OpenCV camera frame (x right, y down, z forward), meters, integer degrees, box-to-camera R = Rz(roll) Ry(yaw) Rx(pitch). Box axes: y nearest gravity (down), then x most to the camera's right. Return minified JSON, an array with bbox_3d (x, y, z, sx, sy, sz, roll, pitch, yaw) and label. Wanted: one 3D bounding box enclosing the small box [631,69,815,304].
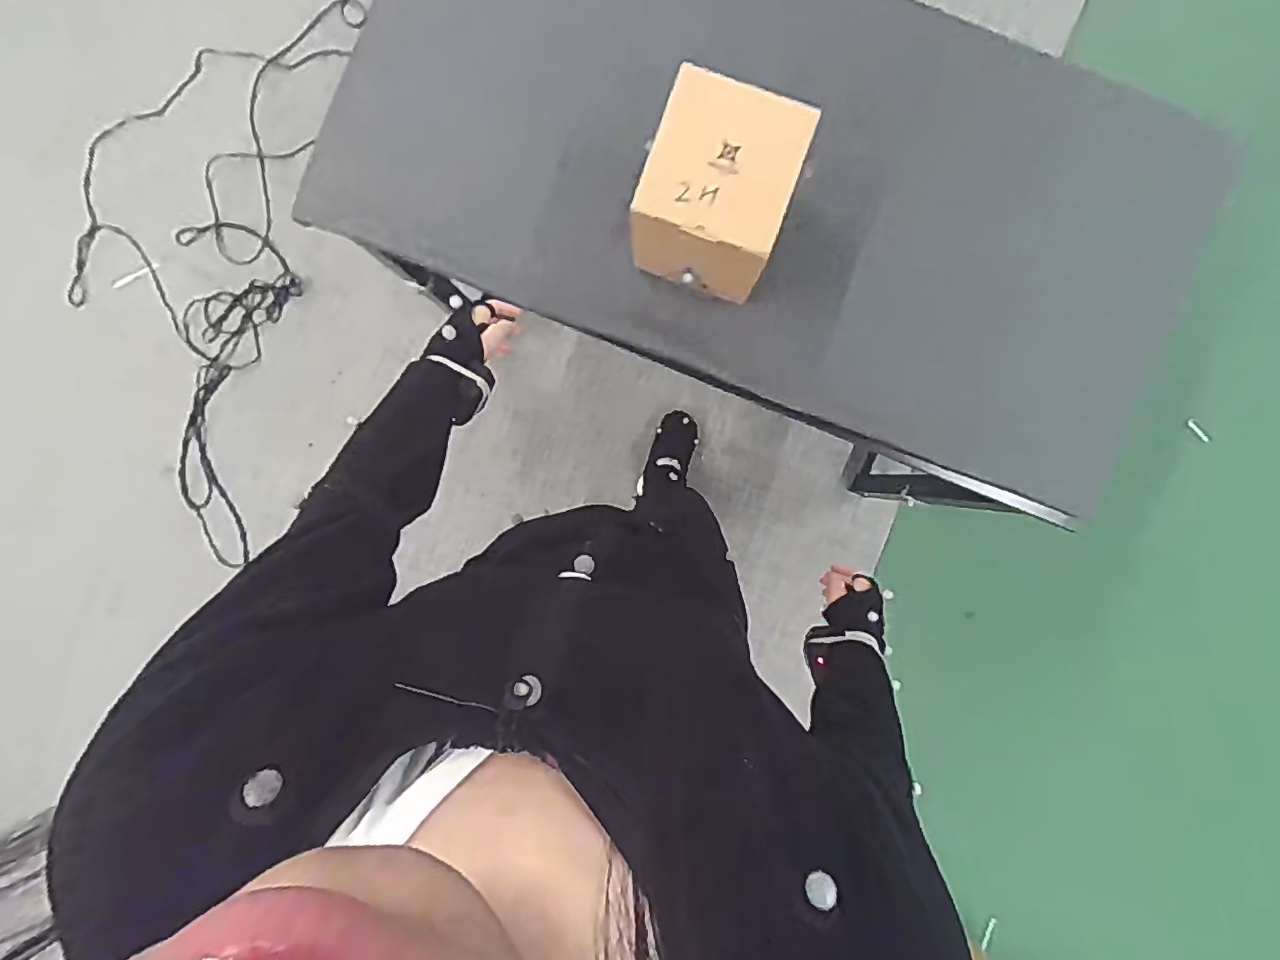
[{"bbox_3d":[0.093,-0.354,0.686,0.168,0.176,0.179,20,90,1],"label":"small box"}]
